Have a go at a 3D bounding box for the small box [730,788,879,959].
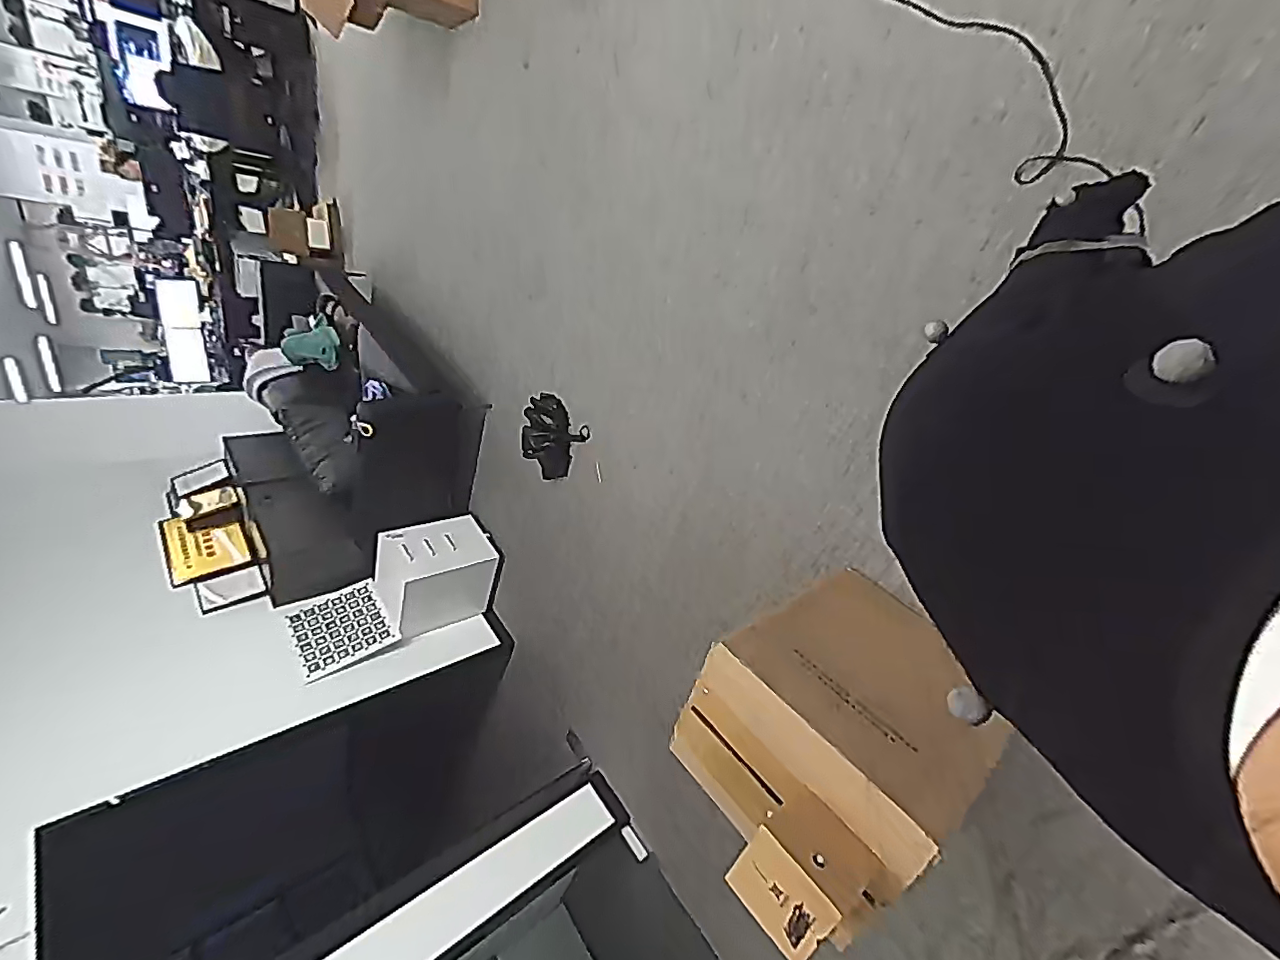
[{"bbox_3d":[0.307,0.722,1.002,0.179,0.176,0.168,38,116,36],"label":"small box"}]
